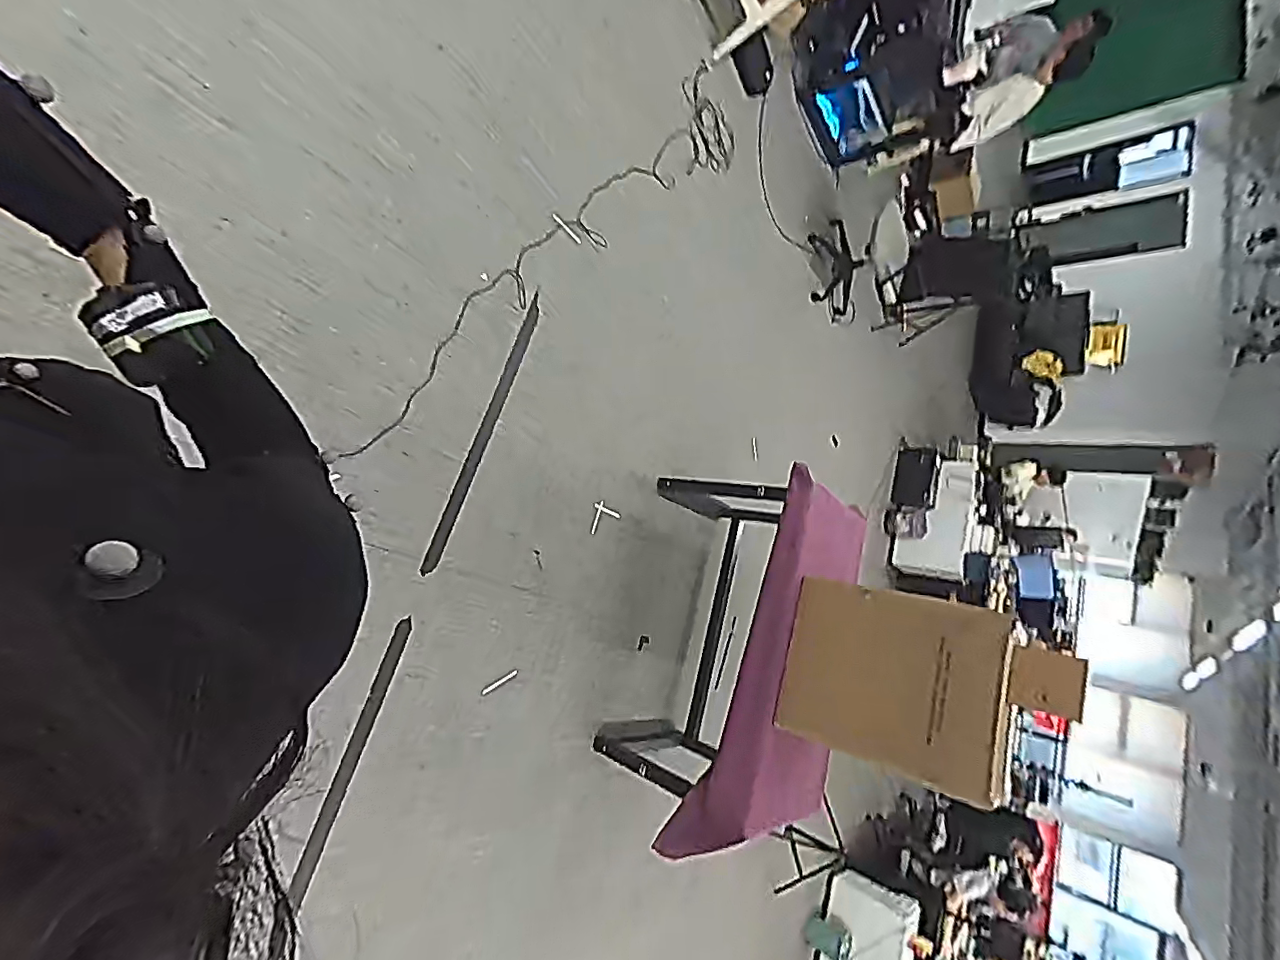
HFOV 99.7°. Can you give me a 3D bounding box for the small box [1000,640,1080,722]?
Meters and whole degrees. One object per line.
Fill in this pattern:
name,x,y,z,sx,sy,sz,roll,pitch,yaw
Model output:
small box,1.151,0.579,1.559,0.168,0.176,0.179,29,72,-47
